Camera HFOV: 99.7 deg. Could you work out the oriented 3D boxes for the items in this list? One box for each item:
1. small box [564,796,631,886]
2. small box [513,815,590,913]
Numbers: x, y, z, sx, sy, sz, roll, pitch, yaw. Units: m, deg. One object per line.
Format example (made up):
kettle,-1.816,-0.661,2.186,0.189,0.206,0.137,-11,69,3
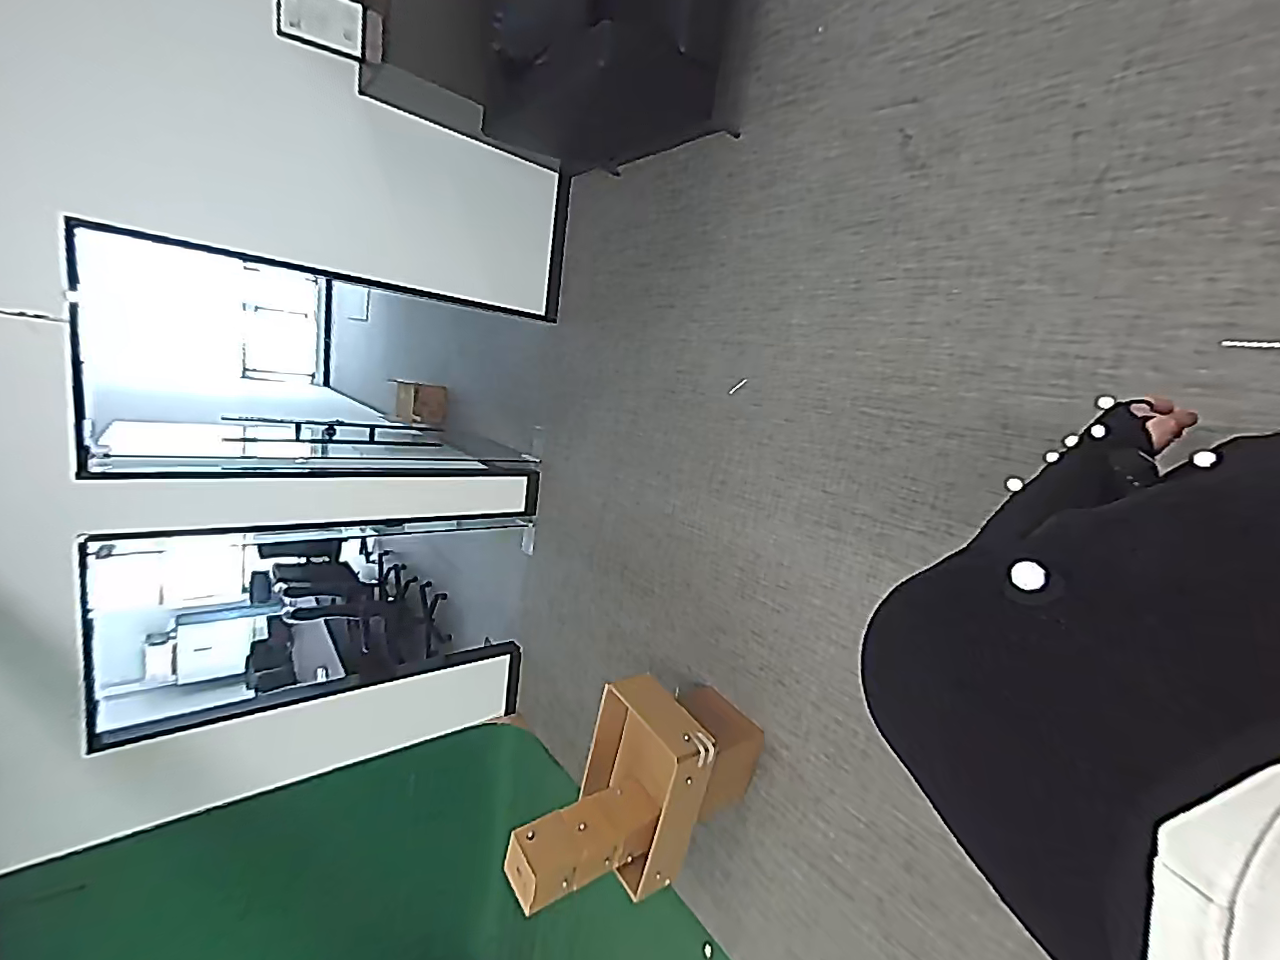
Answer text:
small box,-0.157,1.219,1.847,0.179,0.176,0.168,31,115,44
small box,-0.286,1.223,1.743,0.179,0.176,0.168,32,116,44
